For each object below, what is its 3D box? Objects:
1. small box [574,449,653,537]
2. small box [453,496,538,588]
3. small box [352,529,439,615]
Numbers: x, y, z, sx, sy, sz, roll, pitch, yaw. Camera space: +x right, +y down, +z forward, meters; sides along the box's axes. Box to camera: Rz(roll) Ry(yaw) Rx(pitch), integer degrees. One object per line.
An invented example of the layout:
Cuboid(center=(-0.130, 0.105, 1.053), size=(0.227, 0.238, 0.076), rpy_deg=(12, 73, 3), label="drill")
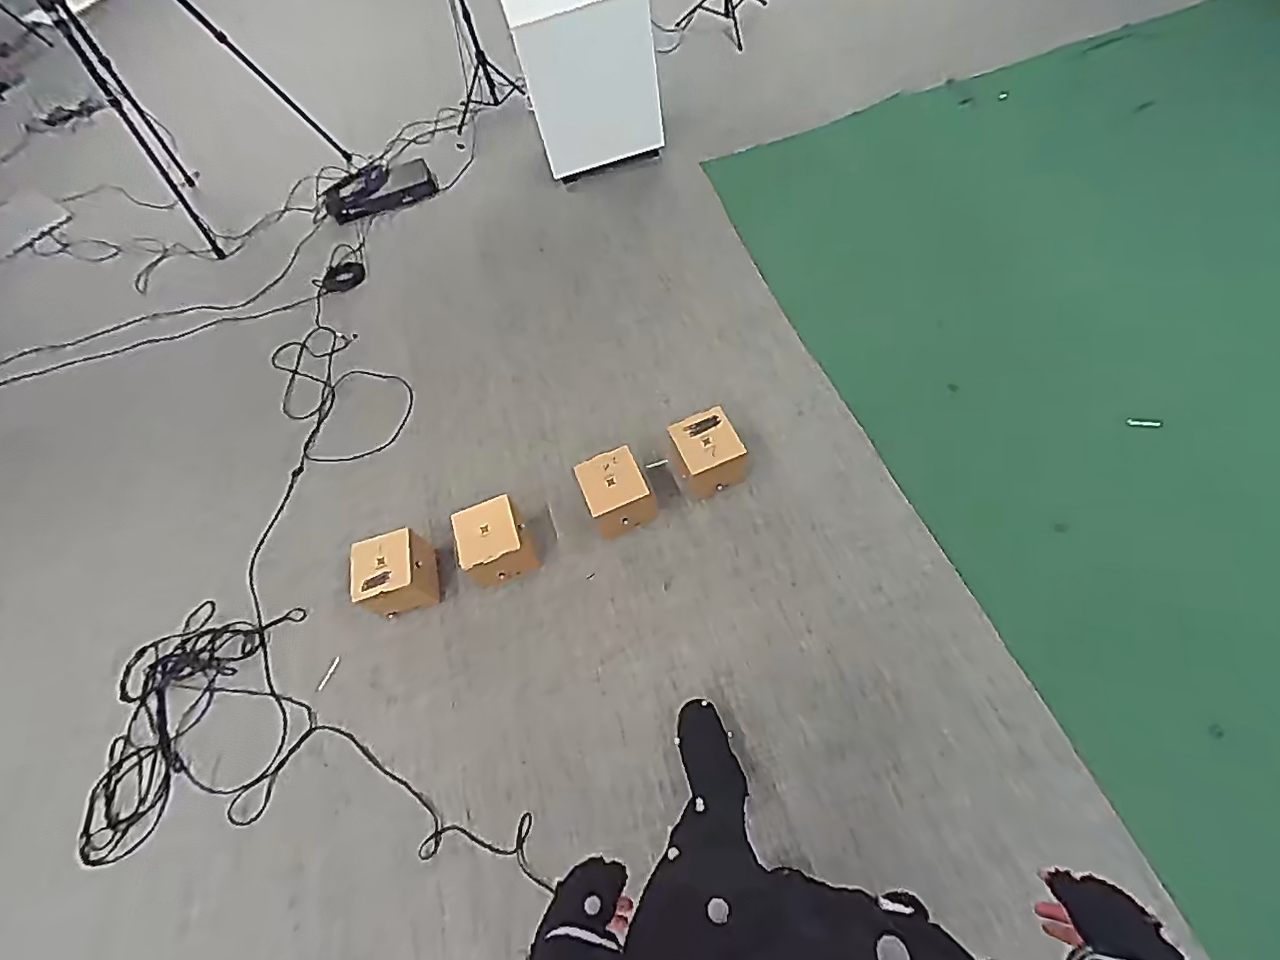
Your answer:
Cuboid(center=(-0.071, 0.046, 1.546), size=(0.168, 0.176, 0.179), rpy_deg=(-22, 60, -4), label="small box")
Cuboid(center=(-0.405, 0.179, 1.527), size=(0.168, 0.176, 0.179), rpy_deg=(-21, 61, -3), label="small box")
Cuboid(center=(-0.682, 0.266, 1.521), size=(0.168, 0.176, 0.179), rpy_deg=(-17, 59, 0), label="small box")
